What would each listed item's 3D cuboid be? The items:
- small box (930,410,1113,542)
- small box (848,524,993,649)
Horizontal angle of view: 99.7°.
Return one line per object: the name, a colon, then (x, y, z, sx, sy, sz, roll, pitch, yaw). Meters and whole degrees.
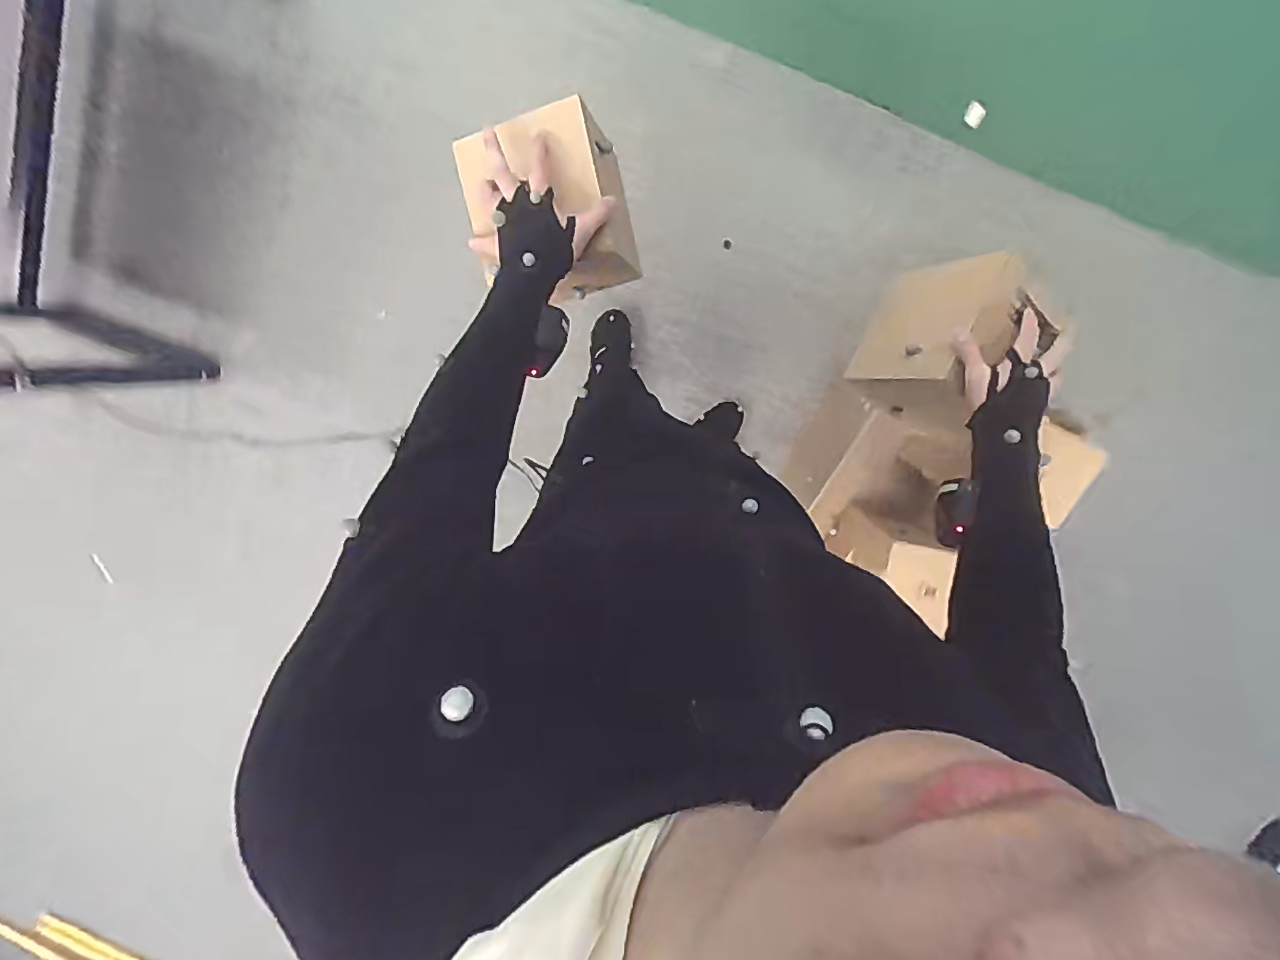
small box: (0.678, -0.017, 0.986, 0.179, 0.176, 0.168, 28, 103, -1)
small box: (0.525, 0.194, 1.044, 0.179, 0.176, 0.168, 13, 103, 2)
